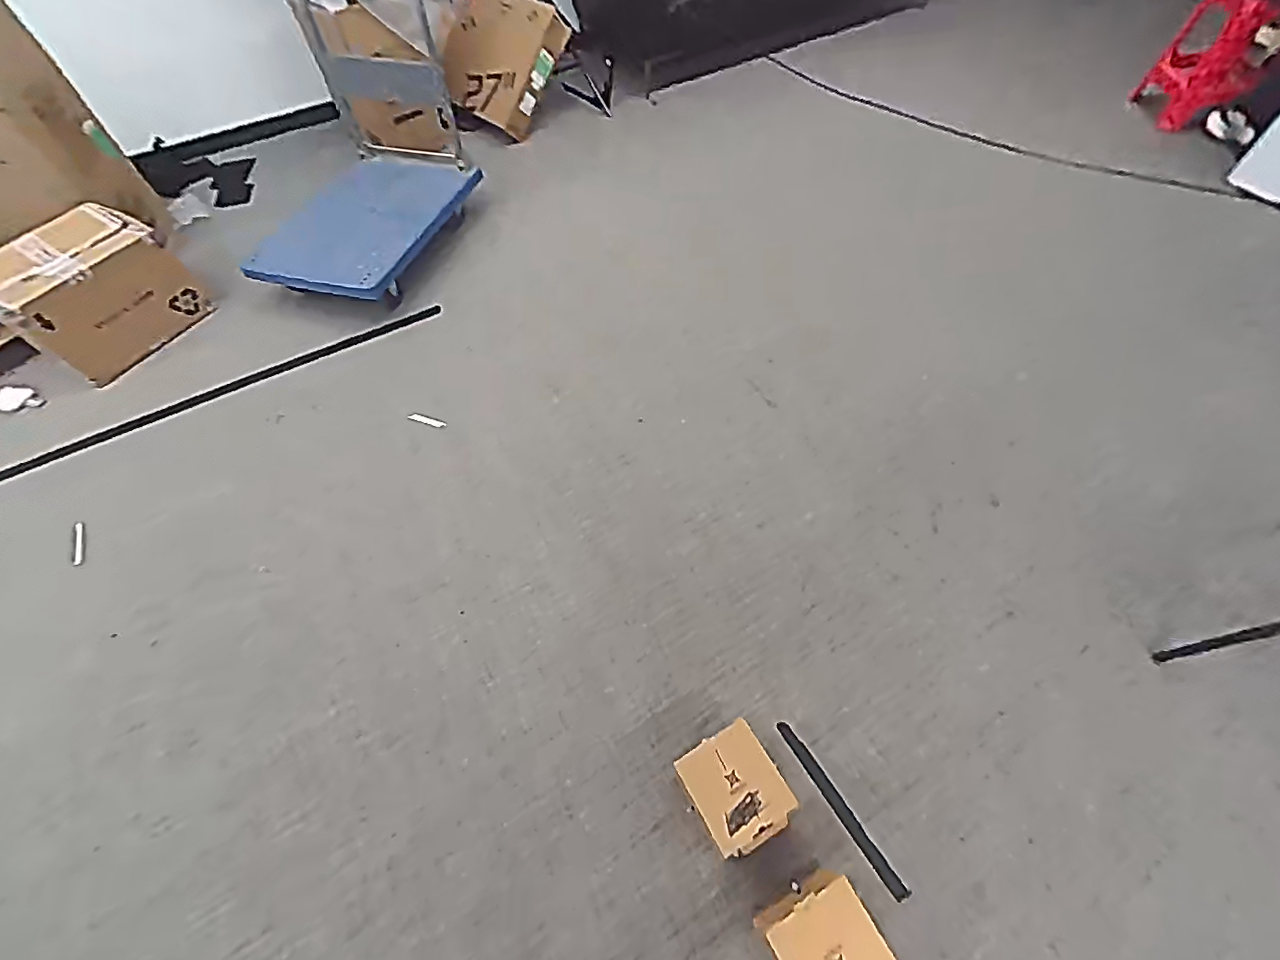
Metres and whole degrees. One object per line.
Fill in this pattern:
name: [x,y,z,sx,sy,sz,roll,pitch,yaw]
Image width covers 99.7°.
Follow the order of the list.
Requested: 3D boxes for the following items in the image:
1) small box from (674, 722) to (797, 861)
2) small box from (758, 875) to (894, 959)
small box: [0.183,0.616,1.072,0.168,0.176,0.179,-26,57,-14]
small box: [0.323,0.817,0.929,0.168,0.176,0.179,-26,57,-13]
